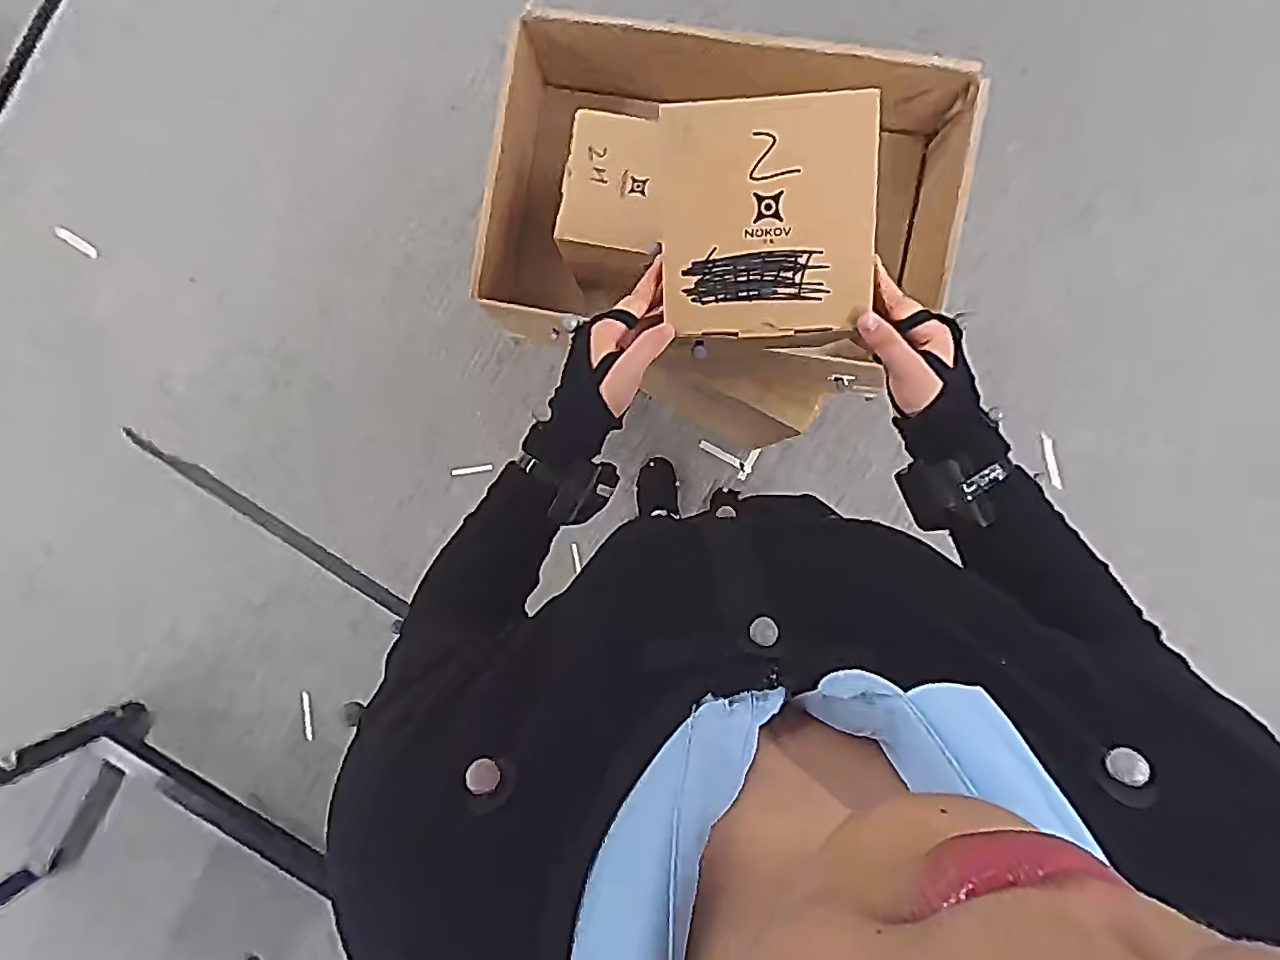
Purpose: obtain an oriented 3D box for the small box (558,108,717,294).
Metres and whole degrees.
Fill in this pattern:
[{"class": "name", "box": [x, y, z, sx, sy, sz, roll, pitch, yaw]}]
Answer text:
[{"class": "small box", "box": [0.000, -0.376, 0.762, 0.179, 0.176, 0.168, 12, 92, 3]}]
